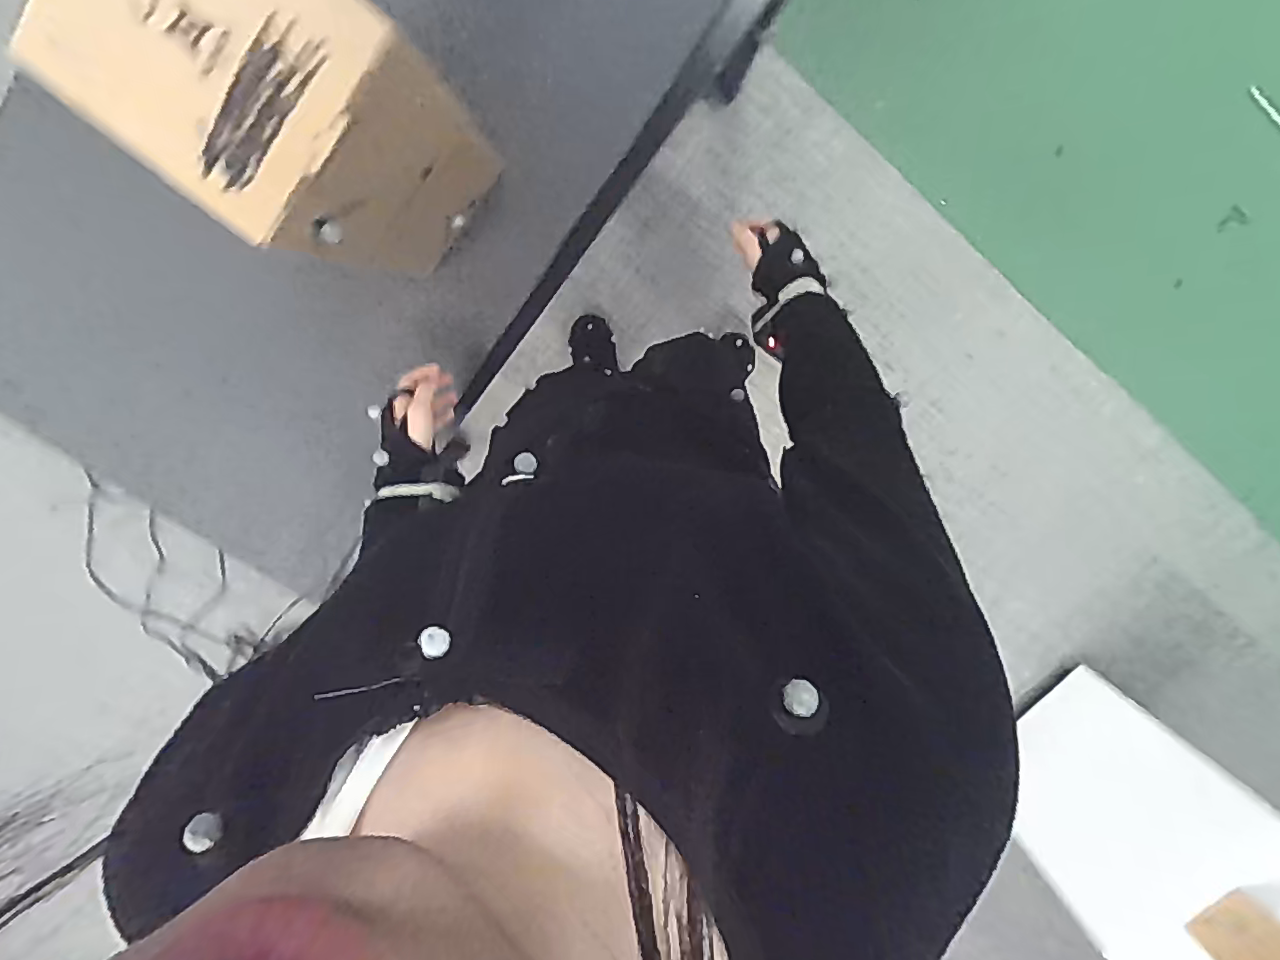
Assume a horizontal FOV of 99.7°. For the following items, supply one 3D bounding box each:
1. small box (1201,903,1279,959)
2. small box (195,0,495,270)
[{"bbox_3d":[1.391,1.061,1.156,0.179,0.176,0.168,36,102,-12],"label":"small box"},{"bbox_3d":[-0.280,-0.339,0.556,0.179,0.176,0.168,39,102,-11],"label":"small box"}]
